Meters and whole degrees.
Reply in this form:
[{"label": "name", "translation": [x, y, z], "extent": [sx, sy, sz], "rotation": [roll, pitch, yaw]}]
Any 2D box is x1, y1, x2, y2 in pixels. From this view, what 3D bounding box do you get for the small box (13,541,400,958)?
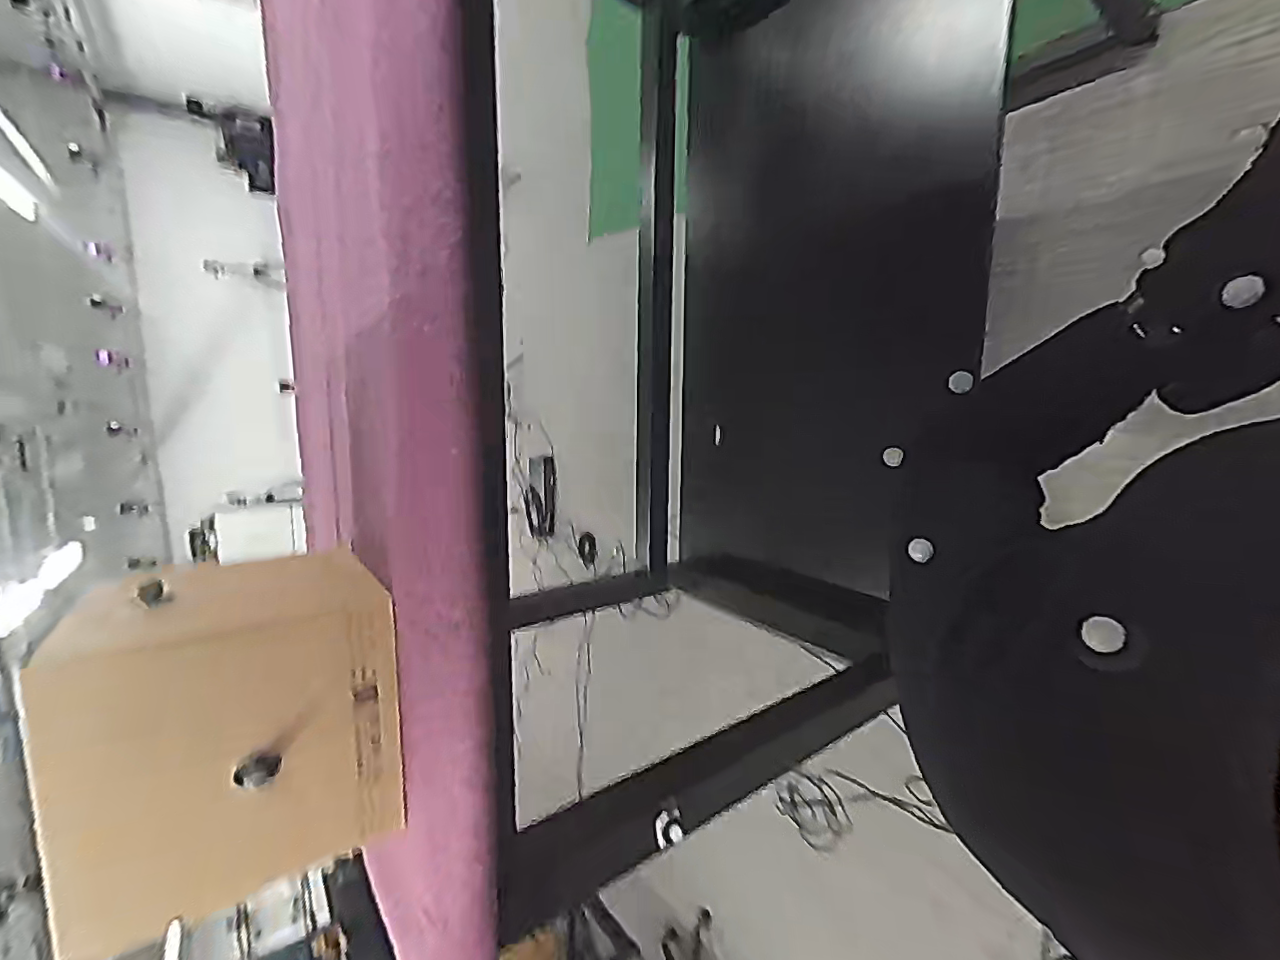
[{"label": "small box", "translation": [-0.270, 0.142, 0.369], "extent": [0.179, 0.176, 0.168], "rotation": [8, 99, 52]}]
